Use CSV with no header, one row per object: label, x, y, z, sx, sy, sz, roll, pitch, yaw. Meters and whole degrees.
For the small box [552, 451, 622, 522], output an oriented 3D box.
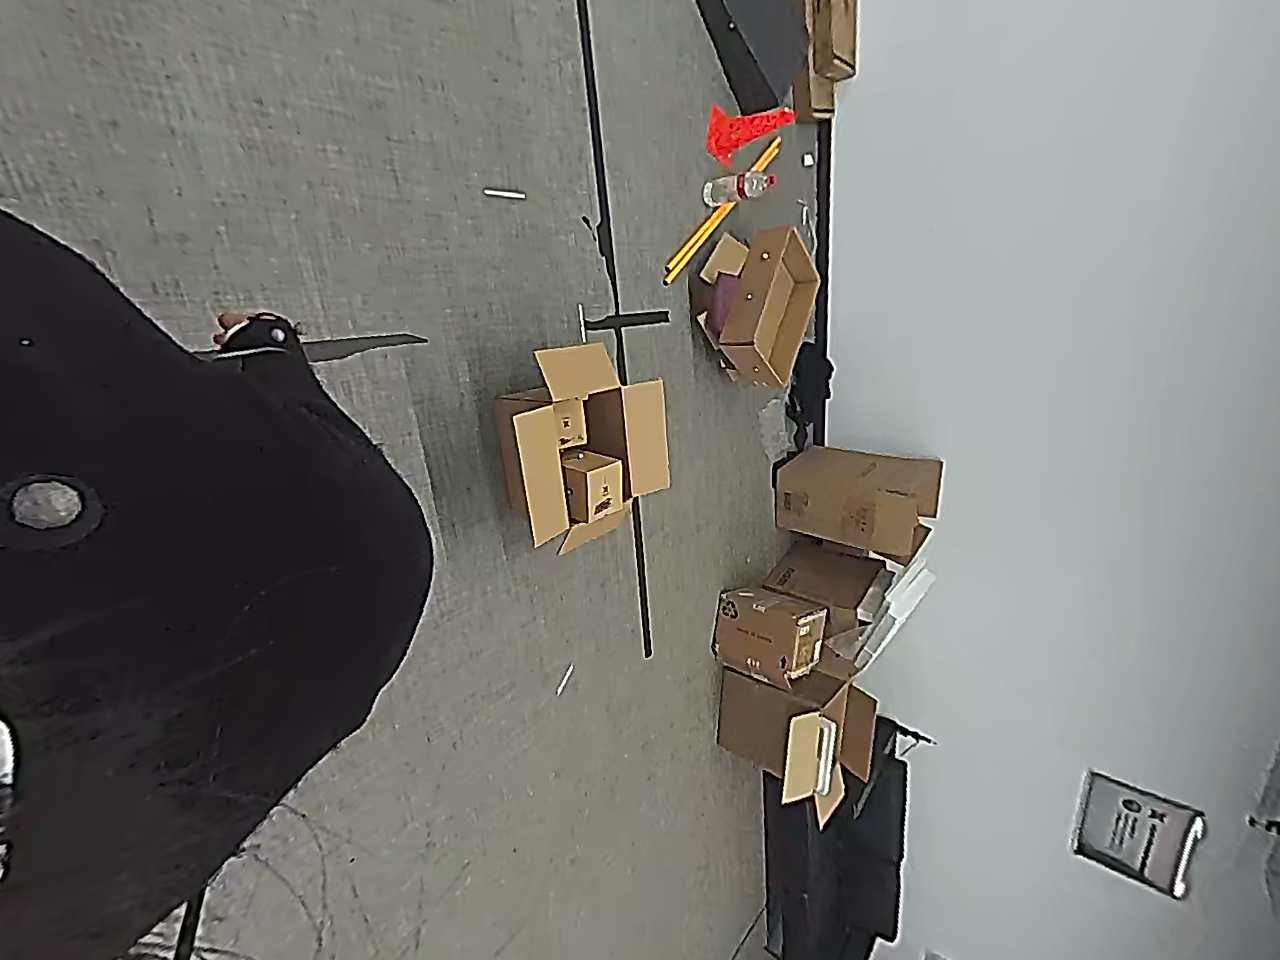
small box,-0.175,0.015,1.784,0.168,0.176,0.179,-22,118,-47
